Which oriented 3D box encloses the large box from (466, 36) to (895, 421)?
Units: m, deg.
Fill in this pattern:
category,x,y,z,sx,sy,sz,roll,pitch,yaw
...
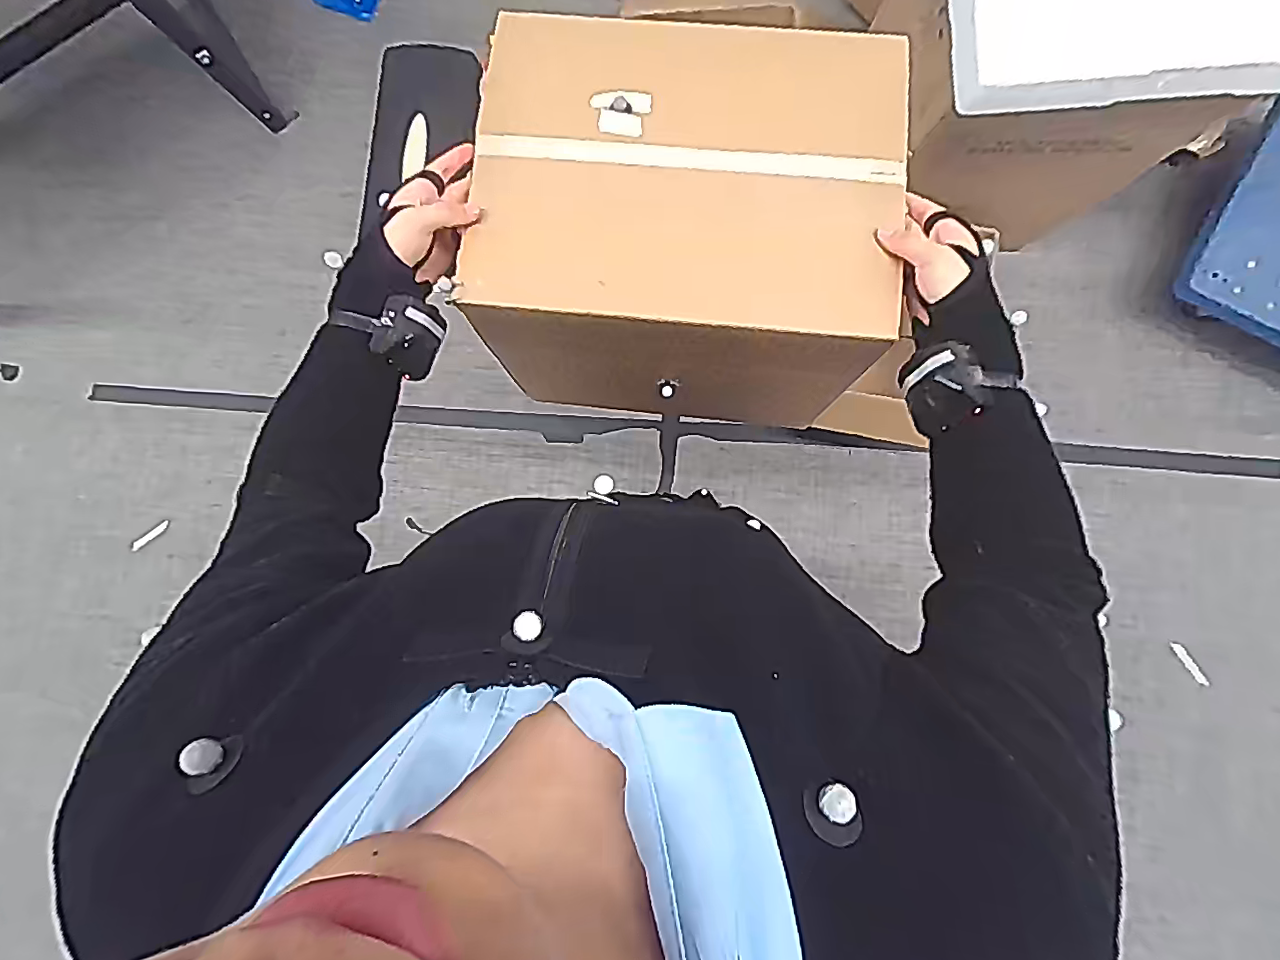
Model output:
category,x,y,z,sx,sy,sz,roll,pitch,yaw
large box,0.051,-0.269,0.669,0.408,0.320,0.320,5,79,3
